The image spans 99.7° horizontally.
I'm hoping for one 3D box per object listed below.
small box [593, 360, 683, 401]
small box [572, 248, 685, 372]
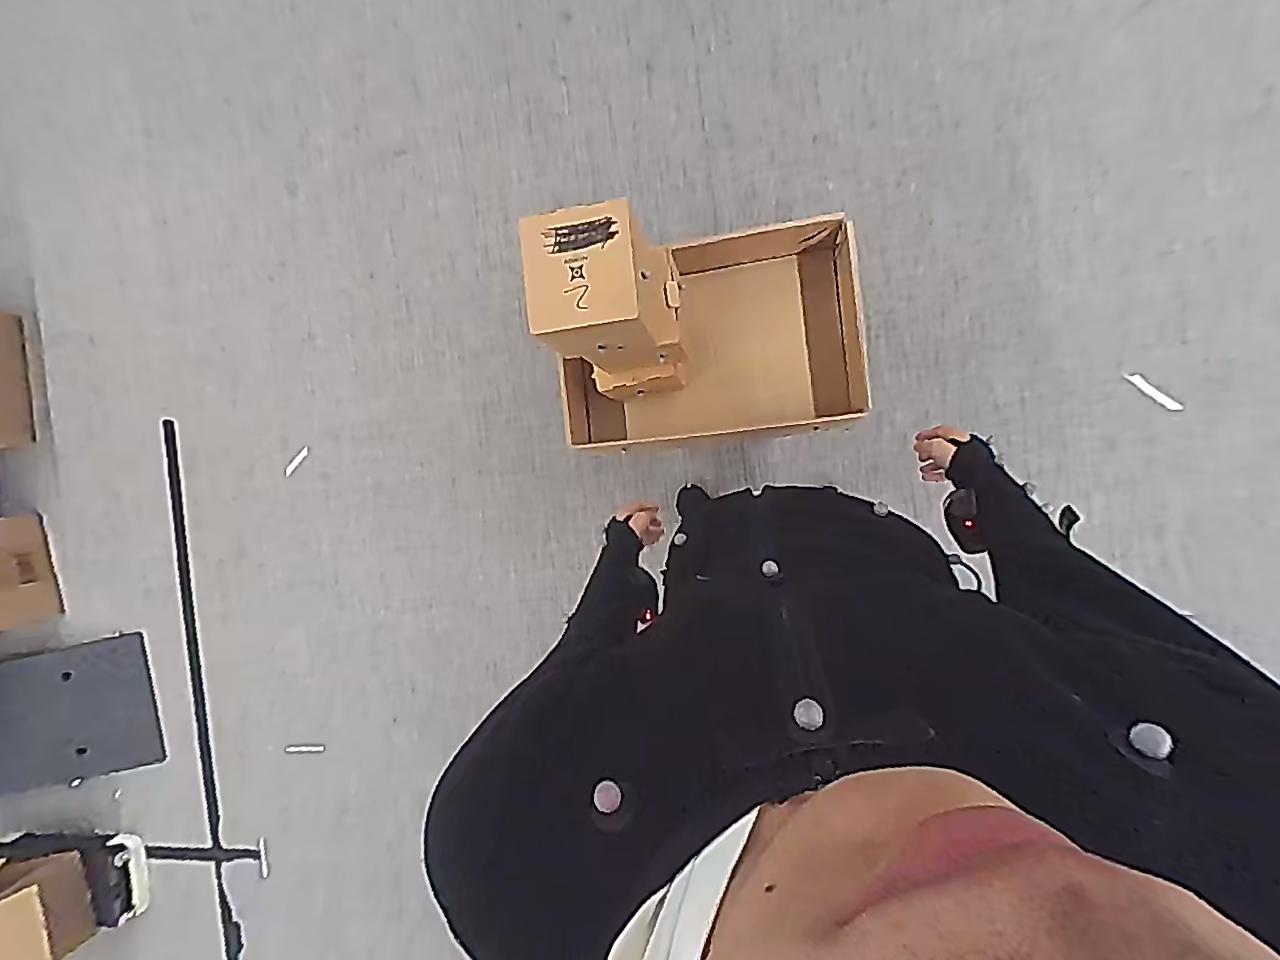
[{"bbox_3d":[-0.009,-0.281,1.168,0.168,0.176,0.179,-11,89,11],"label":"small box"},{"bbox_3d":[-0.012,-0.304,1.002,0.179,0.176,0.168,-6,89,11],"label":"small box"}]
